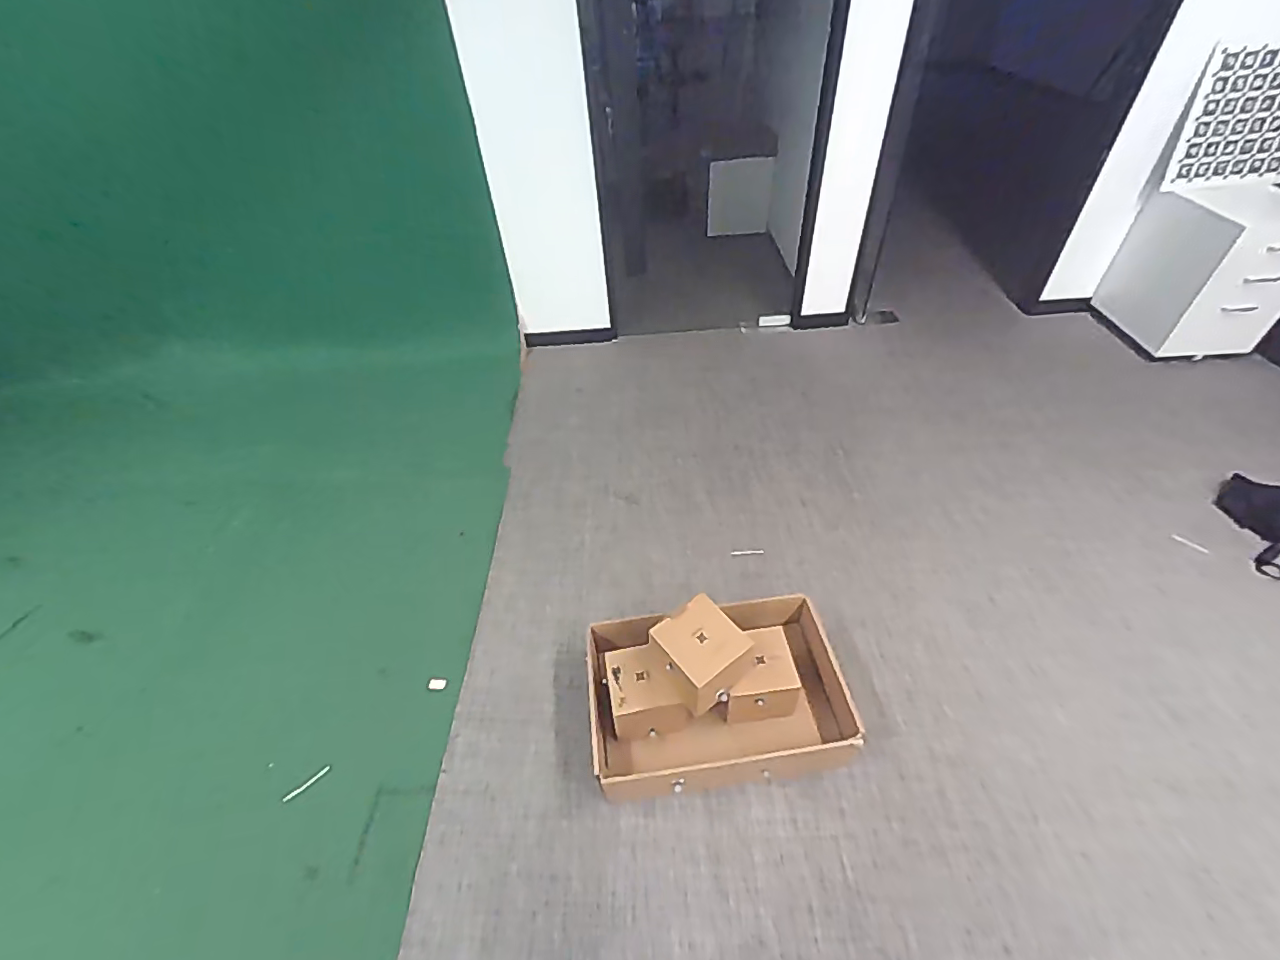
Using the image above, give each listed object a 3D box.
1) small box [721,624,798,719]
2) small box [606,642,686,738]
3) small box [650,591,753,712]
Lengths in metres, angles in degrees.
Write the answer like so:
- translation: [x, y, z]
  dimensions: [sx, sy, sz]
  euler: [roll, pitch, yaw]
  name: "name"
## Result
- translation: [0.290, 0.496, 1.391]
  dimensions: [0.179, 0.176, 0.168]
  euler: [-7, 45, -2]
  name: "small box"
- translation: [0.012, 0.532, 1.377]
  dimensions: [0.179, 0.176, 0.168]
  euler: [-8, 44, -6]
  name: "small box"
- translation: [0.139, 0.404, 1.269]
  dimensions: [0.168, 0.176, 0.179]
  euler: [-30, 52, -23]
  name: "small box"
